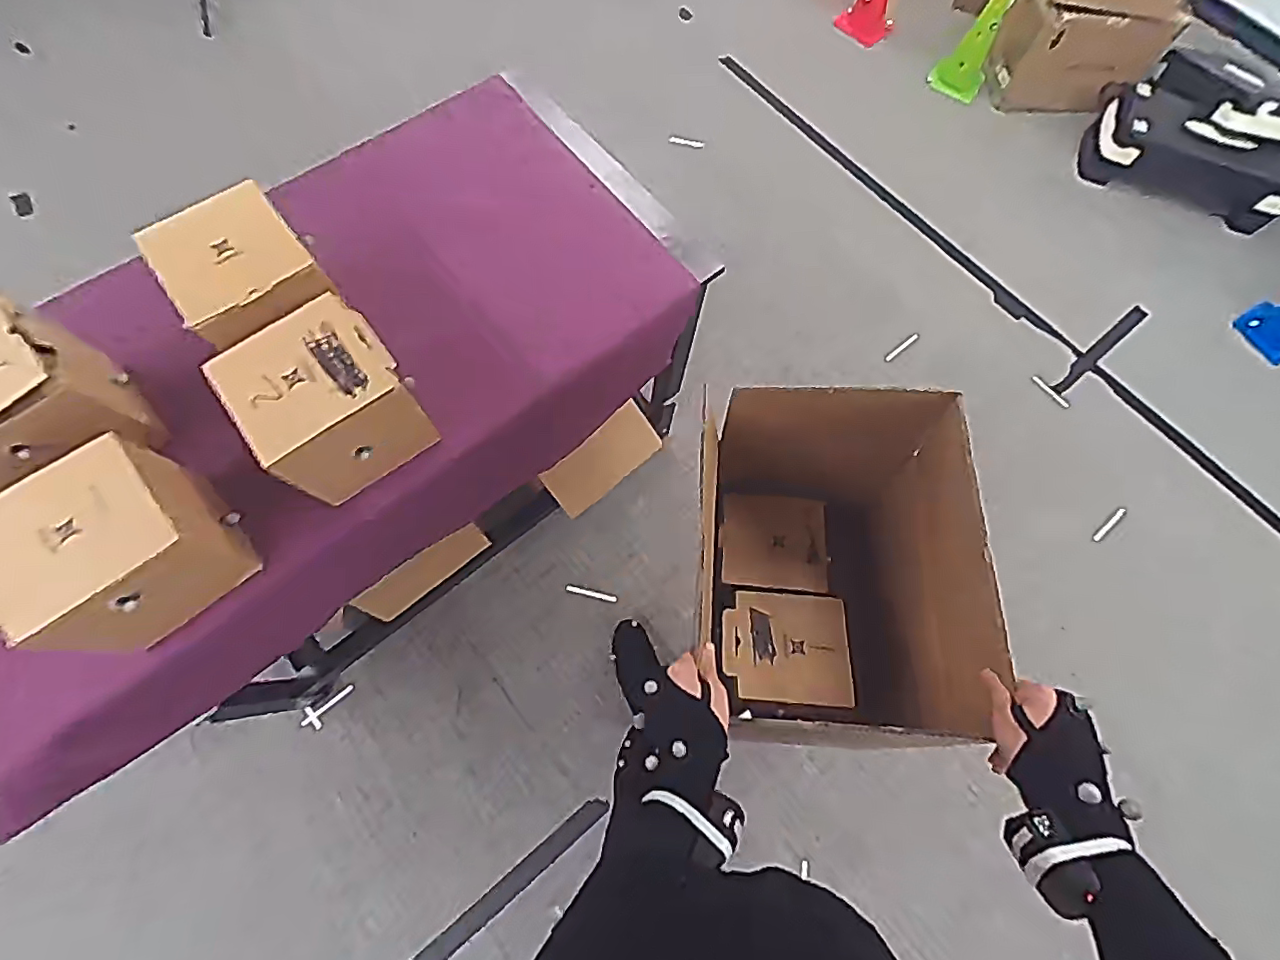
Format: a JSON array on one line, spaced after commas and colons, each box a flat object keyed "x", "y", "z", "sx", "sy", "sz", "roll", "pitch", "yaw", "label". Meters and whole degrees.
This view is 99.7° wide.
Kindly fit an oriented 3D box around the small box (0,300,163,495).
[{"x": -0.783, "y": -0.082, "z": 0.687, "sx": 0.179, "sy": 0.176, "sz": 0.168, "roll": -41, "pitch": 79, "yaw": -15, "label": "small box"}]

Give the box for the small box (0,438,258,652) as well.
[{"x": -0.616, "y": 0.087, "z": 0.644, "sx": 0.179, "sy": 0.176, "sz": 0.168, "roll": -39, "pitch": 79, "yaw": -15, "label": "small box"}]
